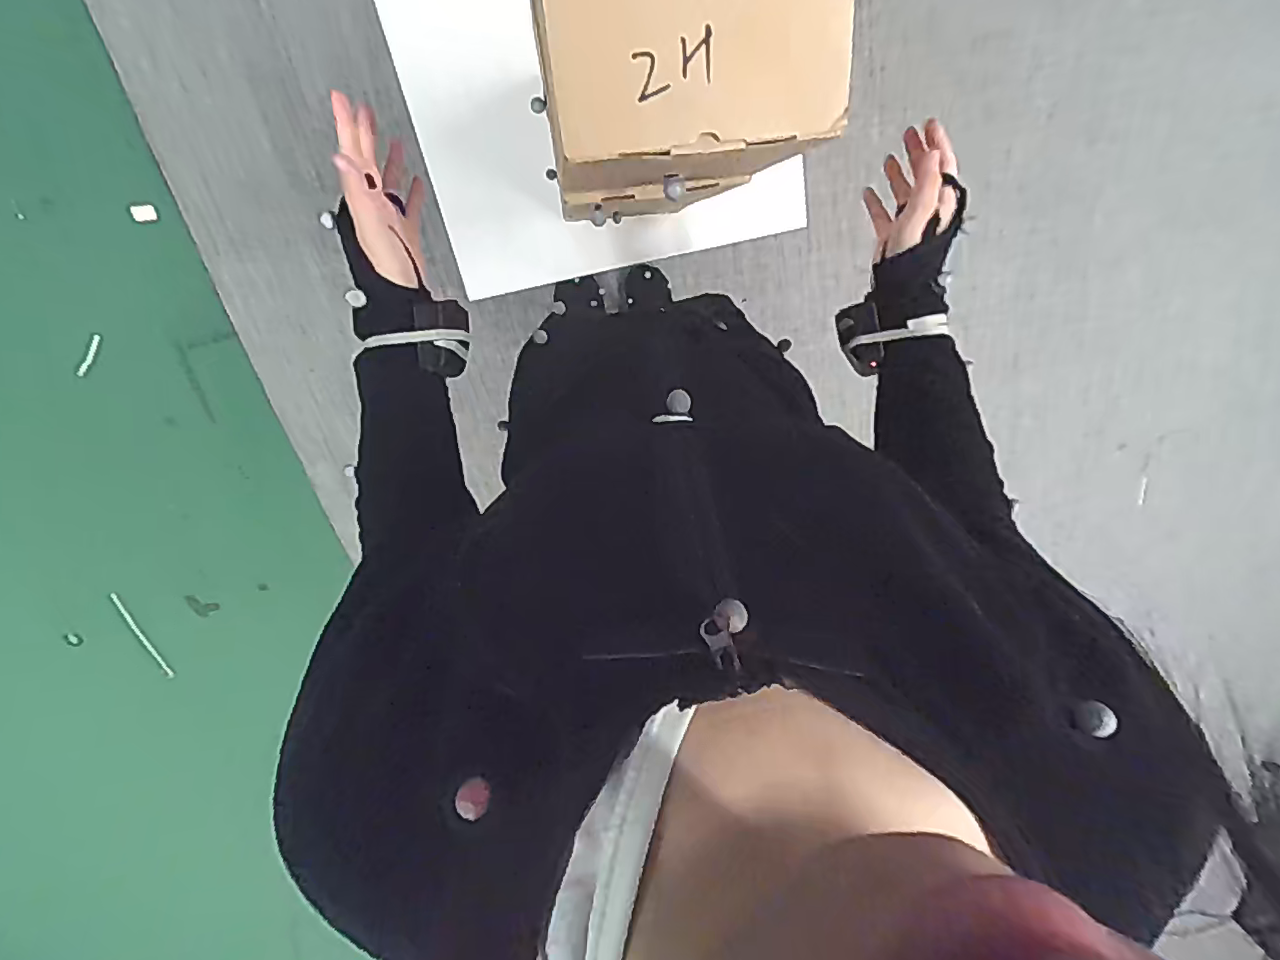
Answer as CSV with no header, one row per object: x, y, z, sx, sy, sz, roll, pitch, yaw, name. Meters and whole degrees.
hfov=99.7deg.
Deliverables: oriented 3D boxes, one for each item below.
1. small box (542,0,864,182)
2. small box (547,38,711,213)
0.023,-0.302,0.339,0.168,0.176,0.179,-8,114,-3,small box
-0.018,-0.426,0.641,0.168,0.176,0.179,-8,114,-4,small box
